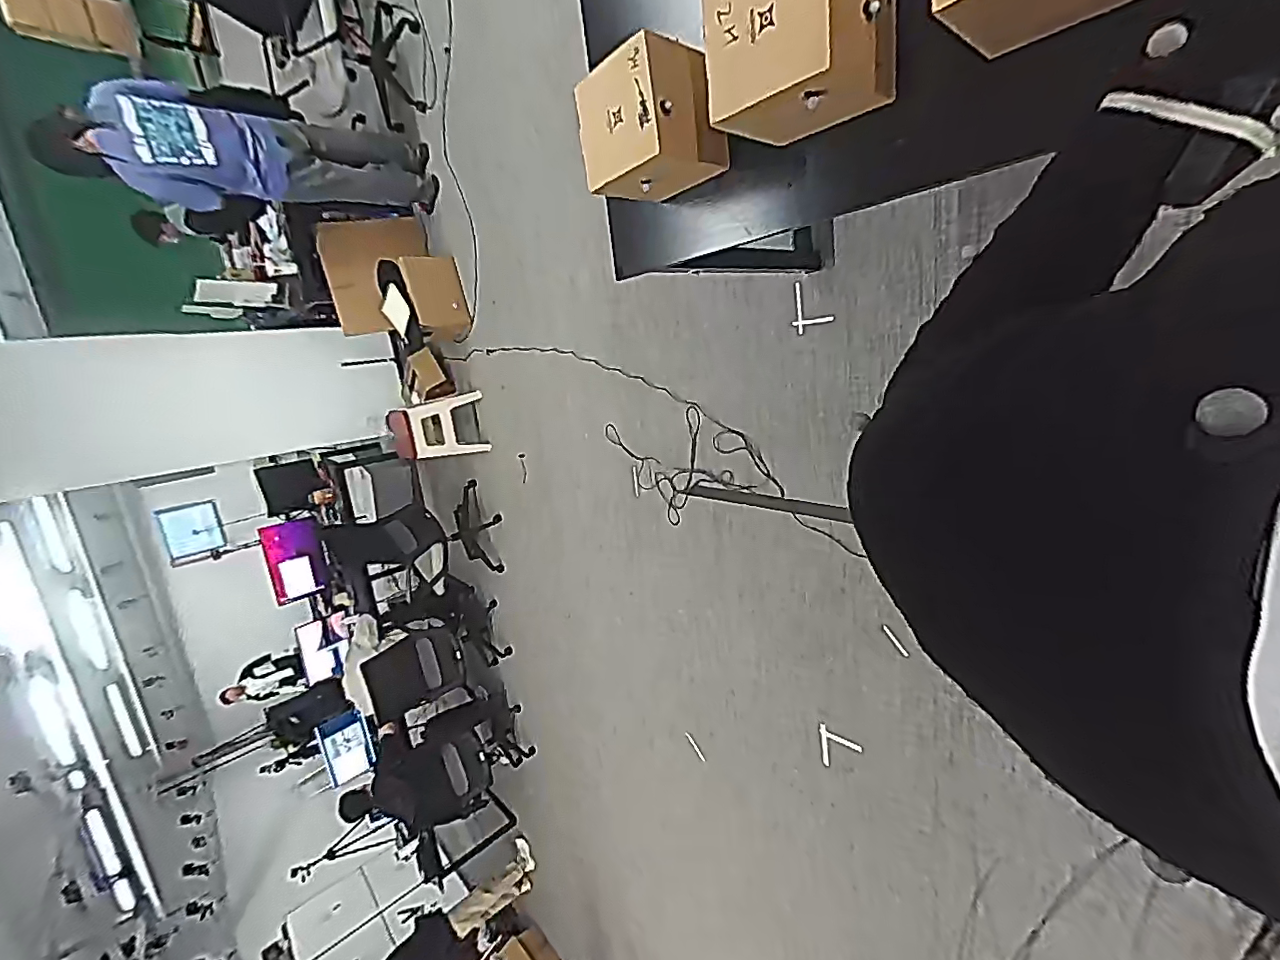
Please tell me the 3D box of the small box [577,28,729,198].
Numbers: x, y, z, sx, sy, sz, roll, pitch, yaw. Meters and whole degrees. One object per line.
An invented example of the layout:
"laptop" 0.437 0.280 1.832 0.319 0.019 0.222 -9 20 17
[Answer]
"small box" 0.023 -0.583 0.891 0.179 0.176 0.168 5 107 49

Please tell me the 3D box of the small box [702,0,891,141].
"small box" 0.203 -0.559 0.686 0.179 0.176 0.168 10 110 48

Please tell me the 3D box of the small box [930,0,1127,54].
"small box" 0.386 -0.531 0.485 0.179 0.176 0.168 9 109 49
